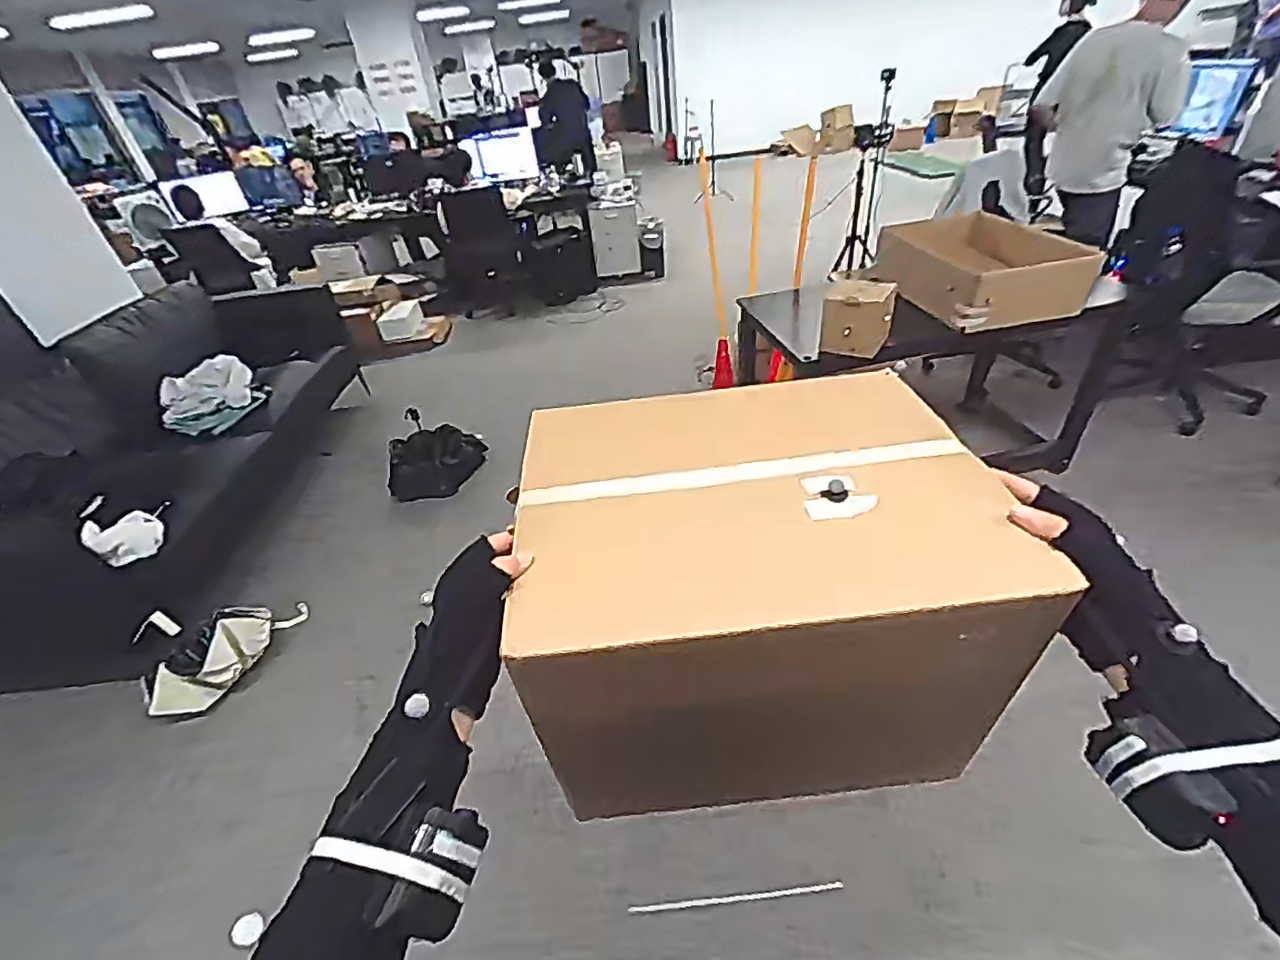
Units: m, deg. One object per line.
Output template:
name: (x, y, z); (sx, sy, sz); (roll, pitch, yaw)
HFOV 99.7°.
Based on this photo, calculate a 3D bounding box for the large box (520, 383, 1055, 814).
large box: (0.105, 0.120, 0.595); (0.408, 0.320, 0.320); (-6, 40, -1)
